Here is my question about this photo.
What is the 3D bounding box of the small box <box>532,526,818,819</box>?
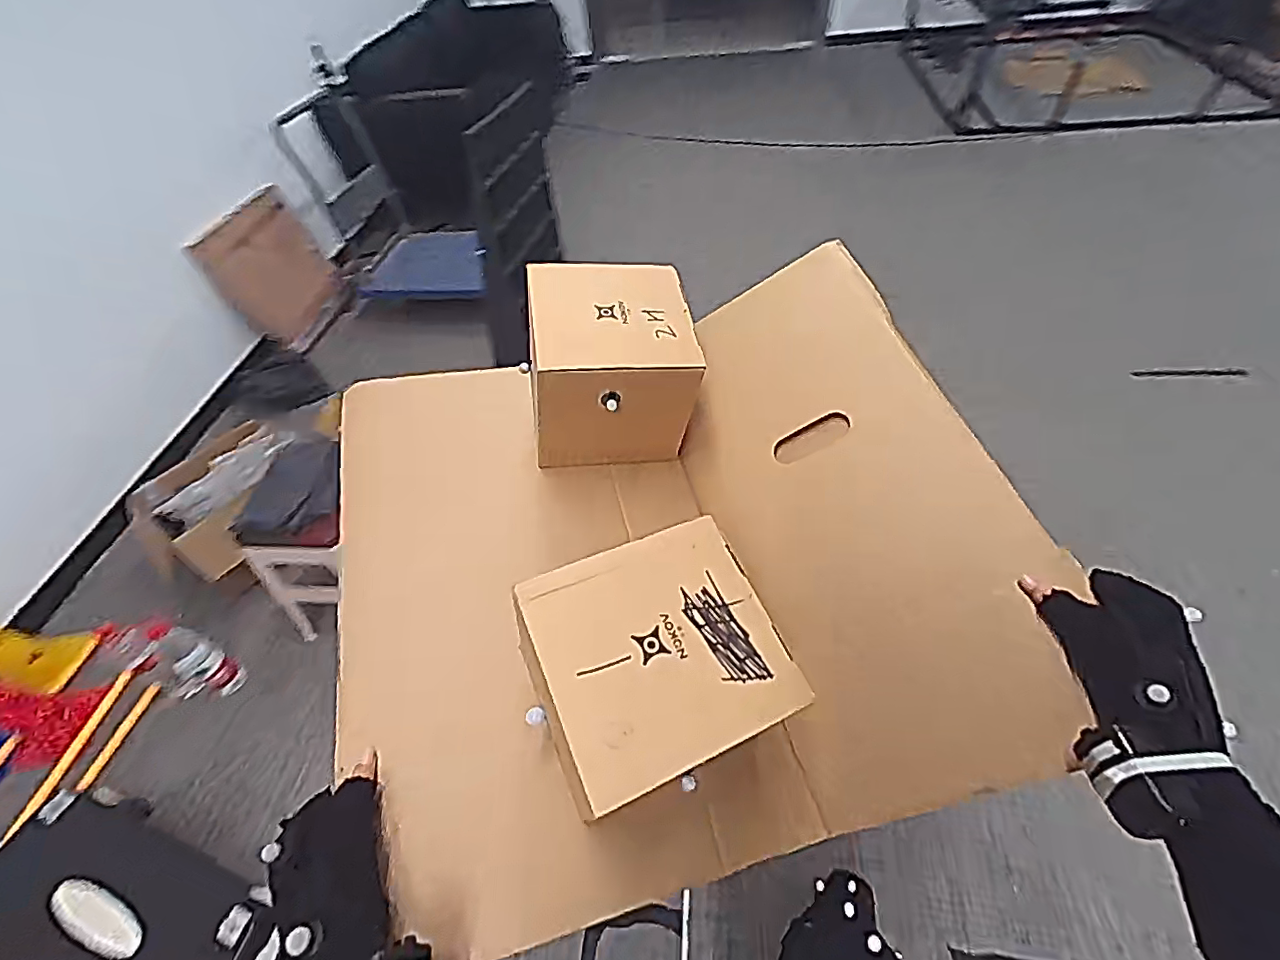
[{"bbox_3d":[0.013,0.169,0.473,0.179,0.176,0.168,-17,62,-18],"label":"small box"}]

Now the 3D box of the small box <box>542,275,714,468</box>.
[{"bbox_3d":[-0.026,-0.125,0.658,0.179,0.176,0.168,-2,58,-11],"label":"small box"}]
